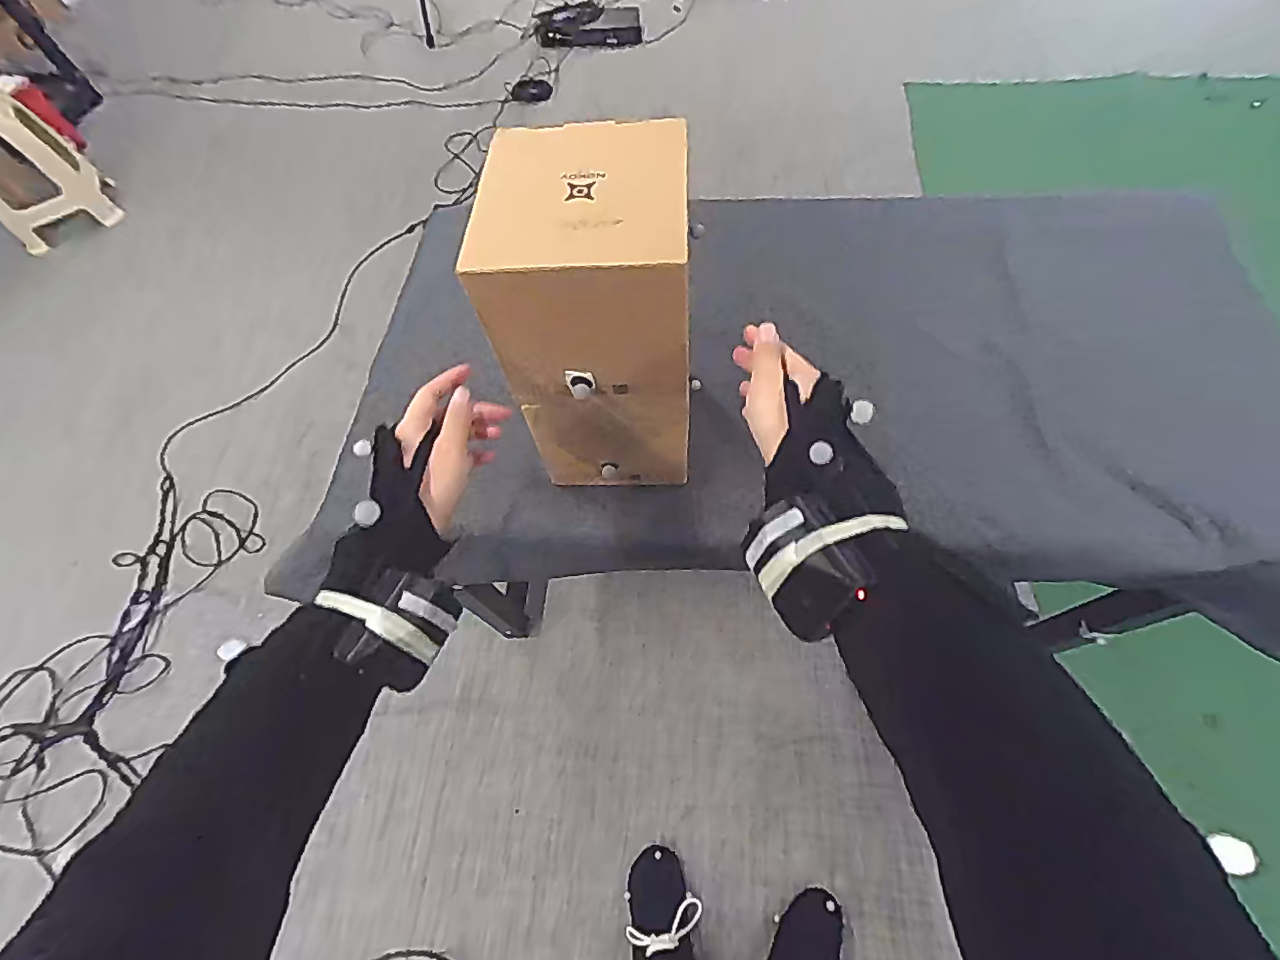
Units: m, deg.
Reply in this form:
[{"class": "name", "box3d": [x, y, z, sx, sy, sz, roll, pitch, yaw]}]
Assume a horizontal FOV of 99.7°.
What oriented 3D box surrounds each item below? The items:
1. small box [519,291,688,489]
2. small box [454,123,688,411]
[{"class": "small box", "box3d": [-0.029, -0.105, 0.625, 0.168, 0.176, 0.179, 0, 62, 4]}, {"class": "small box", "box3d": [-0.042, -0.182, 0.482, 0.168, 0.176, 0.179, 0, 62, 5]}]
